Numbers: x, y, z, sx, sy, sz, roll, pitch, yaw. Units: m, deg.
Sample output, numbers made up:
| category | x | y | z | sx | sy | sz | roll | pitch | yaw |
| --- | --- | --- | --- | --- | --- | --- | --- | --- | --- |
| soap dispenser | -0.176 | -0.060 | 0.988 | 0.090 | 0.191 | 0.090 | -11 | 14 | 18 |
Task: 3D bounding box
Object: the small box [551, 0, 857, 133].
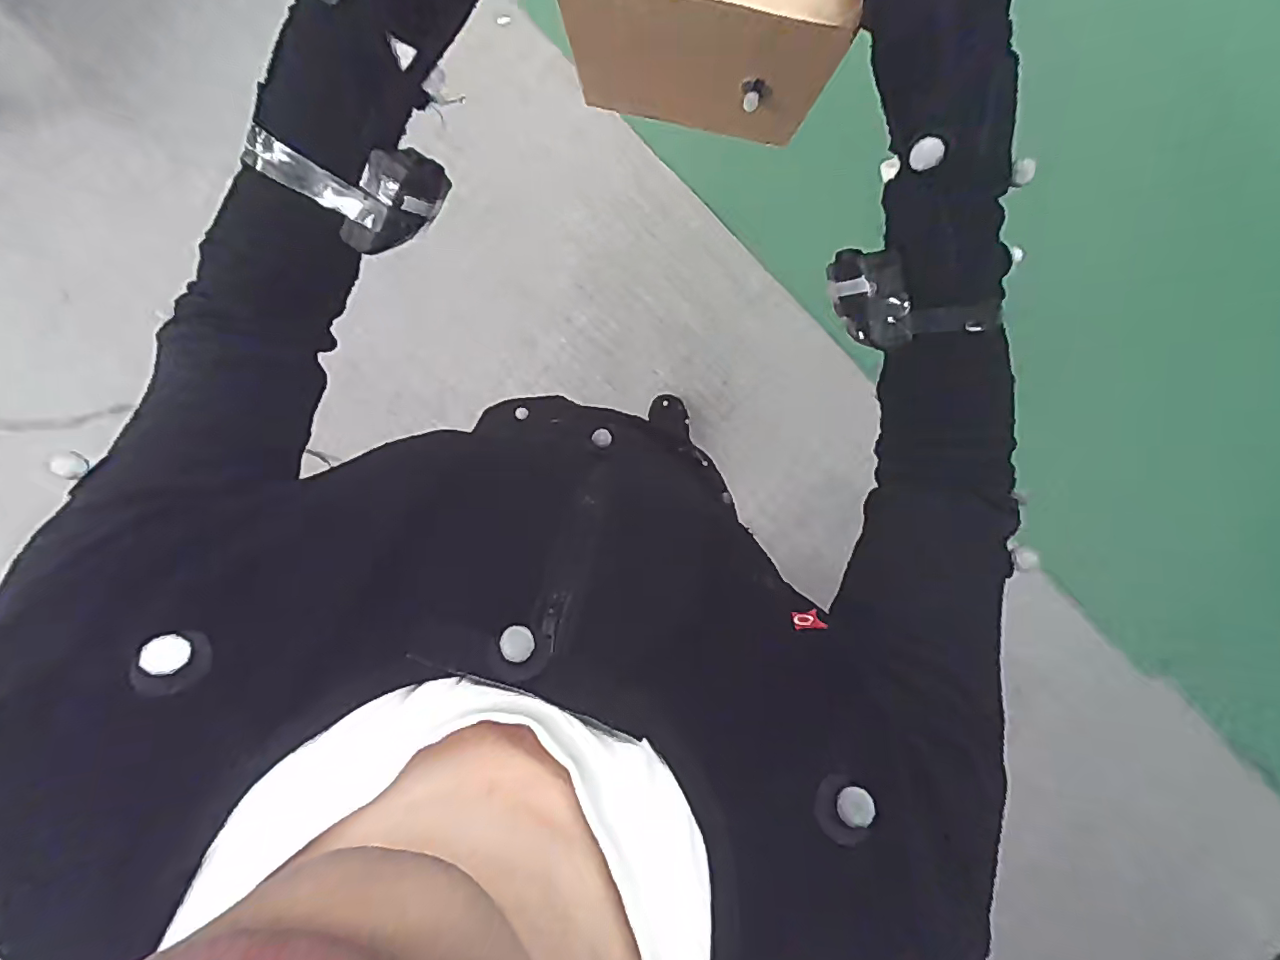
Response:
| category | x | y | z | sx | sy | sz | roll | pitch | yaw |
| --- | --- | --- | --- | --- | --- | --- | --- | --- | --- |
| small box | 0.047 | -0.359 | 0.358 | 0.179 | 0.176 | 0.168 | 9 | 101 | 1 |
